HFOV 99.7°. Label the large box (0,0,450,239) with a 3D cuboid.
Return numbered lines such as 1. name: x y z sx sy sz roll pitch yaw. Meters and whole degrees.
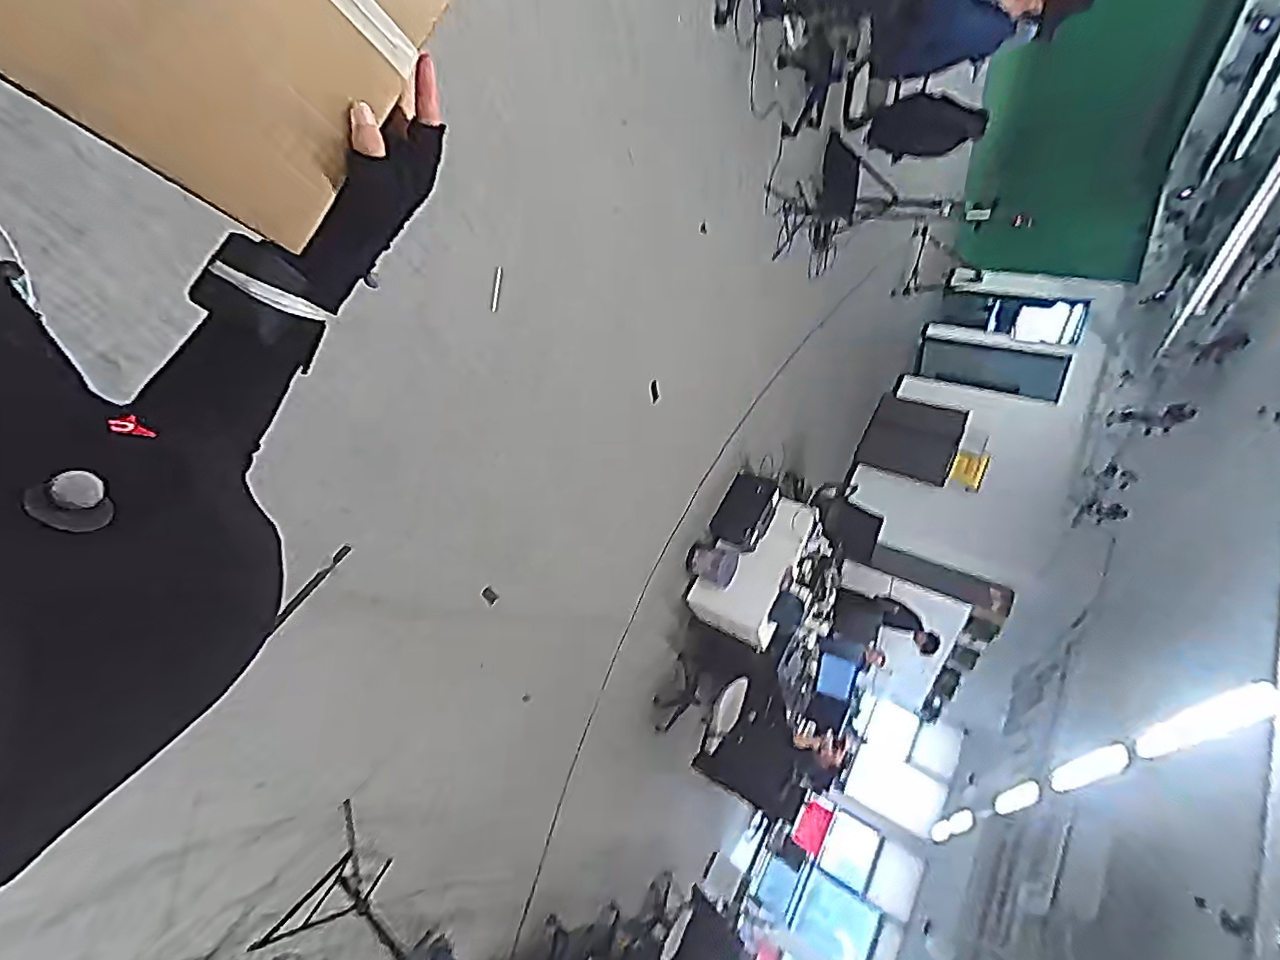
1. large box: -0.370 -0.423 0.313 0.320 0.320 0.408 -57 146 3
